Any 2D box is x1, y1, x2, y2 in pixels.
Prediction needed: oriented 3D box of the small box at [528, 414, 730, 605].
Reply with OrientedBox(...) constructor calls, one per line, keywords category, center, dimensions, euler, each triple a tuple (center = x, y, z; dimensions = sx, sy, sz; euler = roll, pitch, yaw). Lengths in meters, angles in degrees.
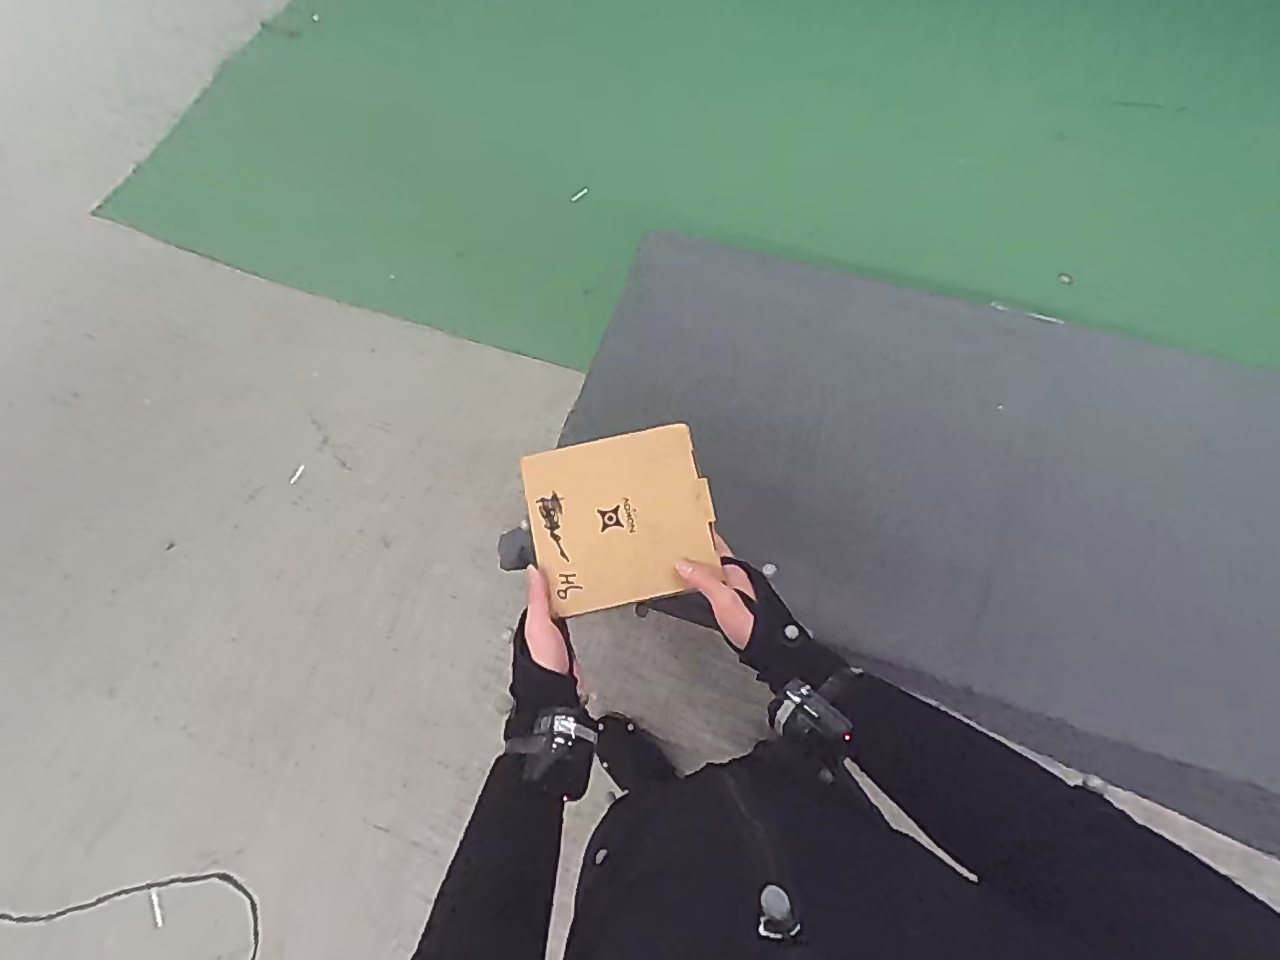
OrientedBox(category="small box", center=(-0.015, 0.042, 0.595), dimensions=(0.179, 0.176, 0.168), euler=(-9, 76, -3))
